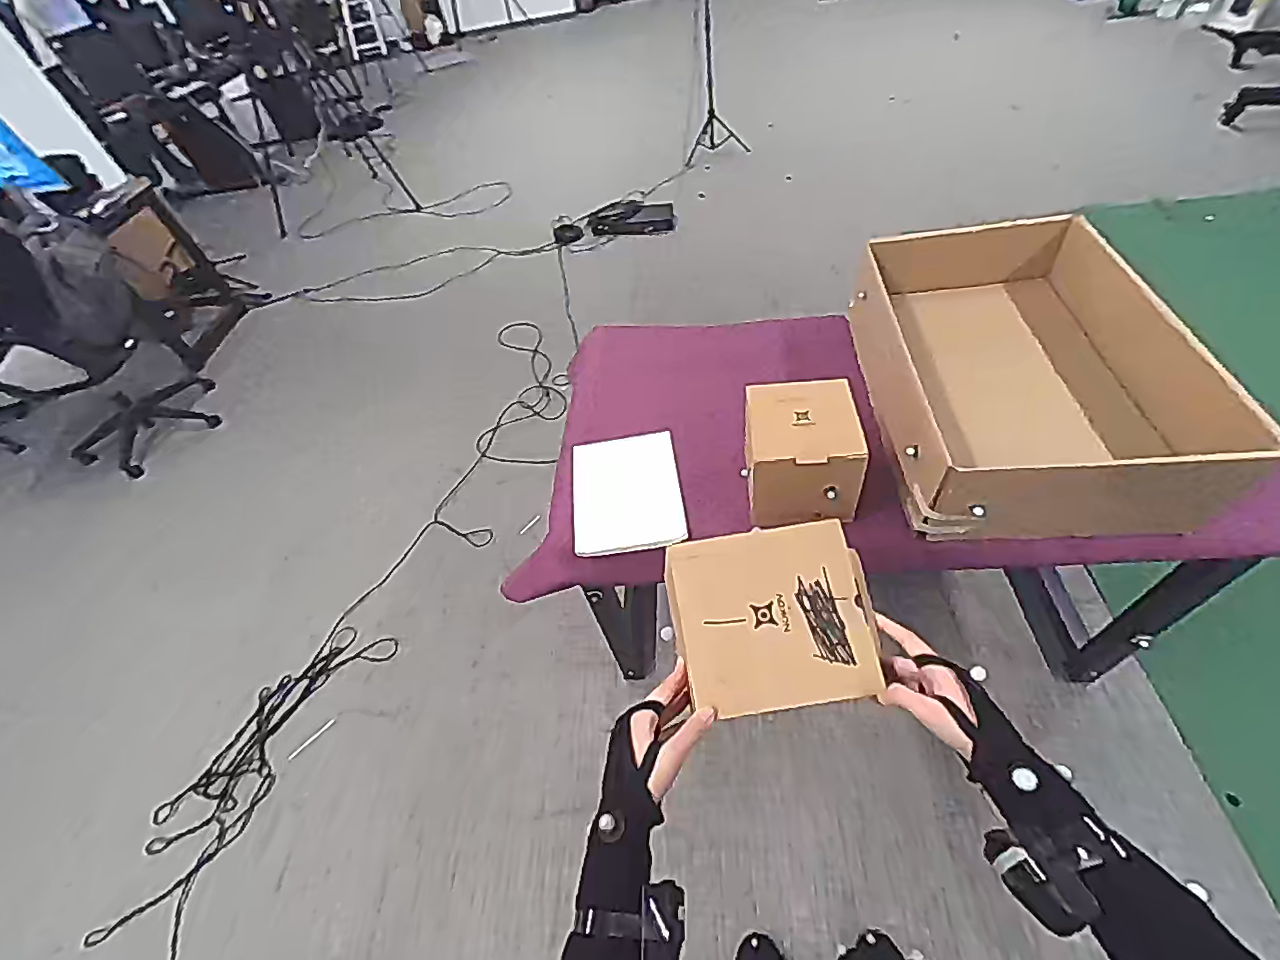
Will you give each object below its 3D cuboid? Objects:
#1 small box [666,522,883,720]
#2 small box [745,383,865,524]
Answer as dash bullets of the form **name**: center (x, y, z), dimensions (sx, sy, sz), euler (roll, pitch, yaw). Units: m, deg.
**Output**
- **small box**: center (0.126, 0.154, 0.583), dimensions (0.179, 0.176, 0.168), euler (-8, 69, 0)
- **small box**: center (0.264, -0.037, 0.903), dimensions (0.168, 0.176, 0.179), euler (-2, 48, 8)
